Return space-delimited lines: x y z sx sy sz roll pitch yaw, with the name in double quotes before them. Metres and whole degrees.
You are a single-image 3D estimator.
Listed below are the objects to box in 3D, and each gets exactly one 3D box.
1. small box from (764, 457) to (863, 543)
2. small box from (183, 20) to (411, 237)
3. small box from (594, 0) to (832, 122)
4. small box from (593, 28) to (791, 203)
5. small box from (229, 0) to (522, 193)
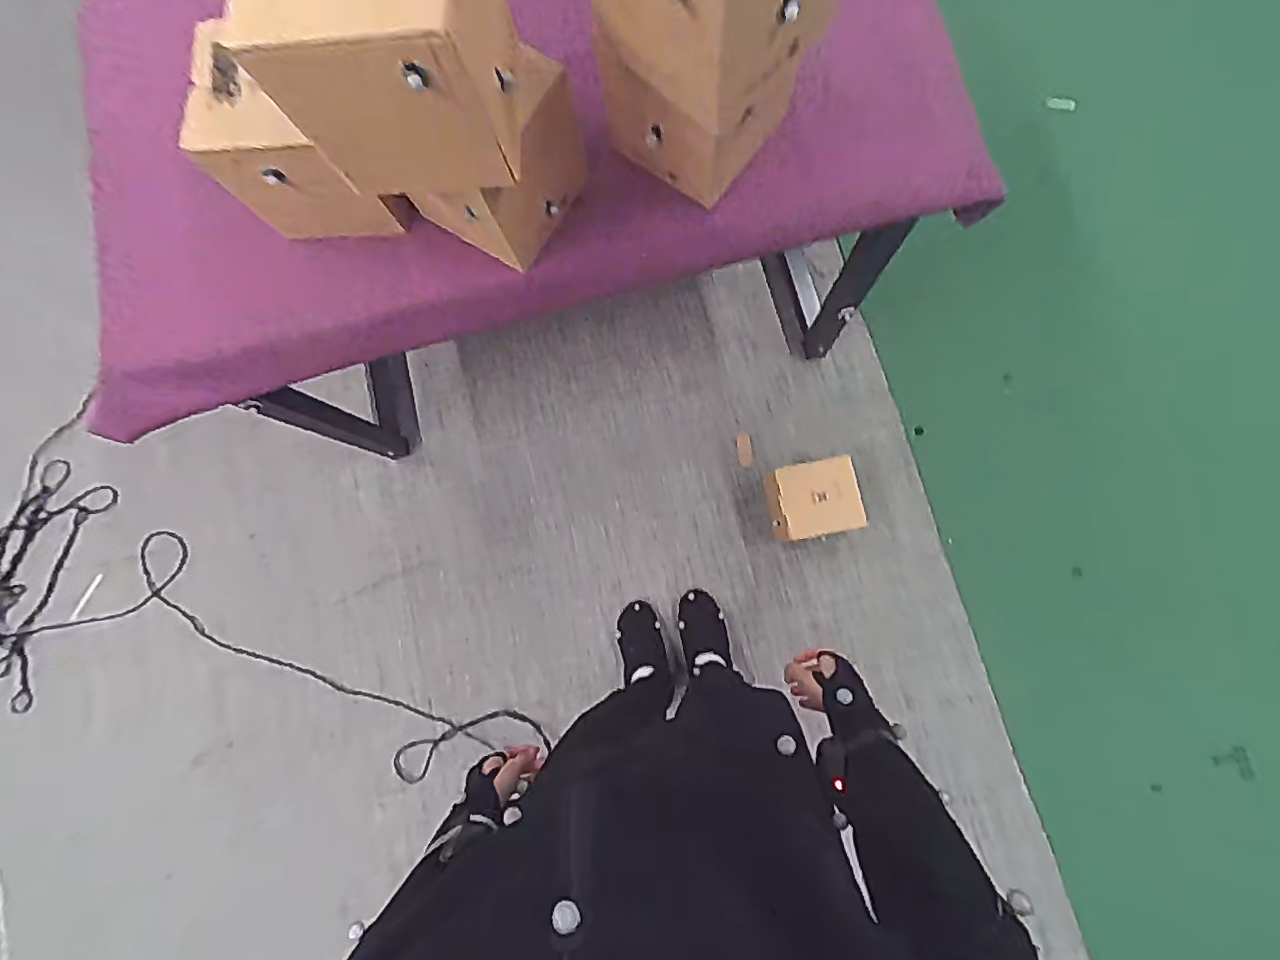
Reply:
"small box" 0.399 0.054 1.285 0.179 0.176 0.168 -11 81 2
"small box" -0.408 -0.426 0.675 0.179 0.176 0.168 -1 82 3
"small box" 0.067 -0.467 0.479 0.179 0.176 0.168 44 86 11
"small box" 0.072 -0.480 0.649 0.168 0.176 0.179 37 86 9
"small box" -0.218 -0.388 0.491 0.179 0.176 0.168 -2 81 3
